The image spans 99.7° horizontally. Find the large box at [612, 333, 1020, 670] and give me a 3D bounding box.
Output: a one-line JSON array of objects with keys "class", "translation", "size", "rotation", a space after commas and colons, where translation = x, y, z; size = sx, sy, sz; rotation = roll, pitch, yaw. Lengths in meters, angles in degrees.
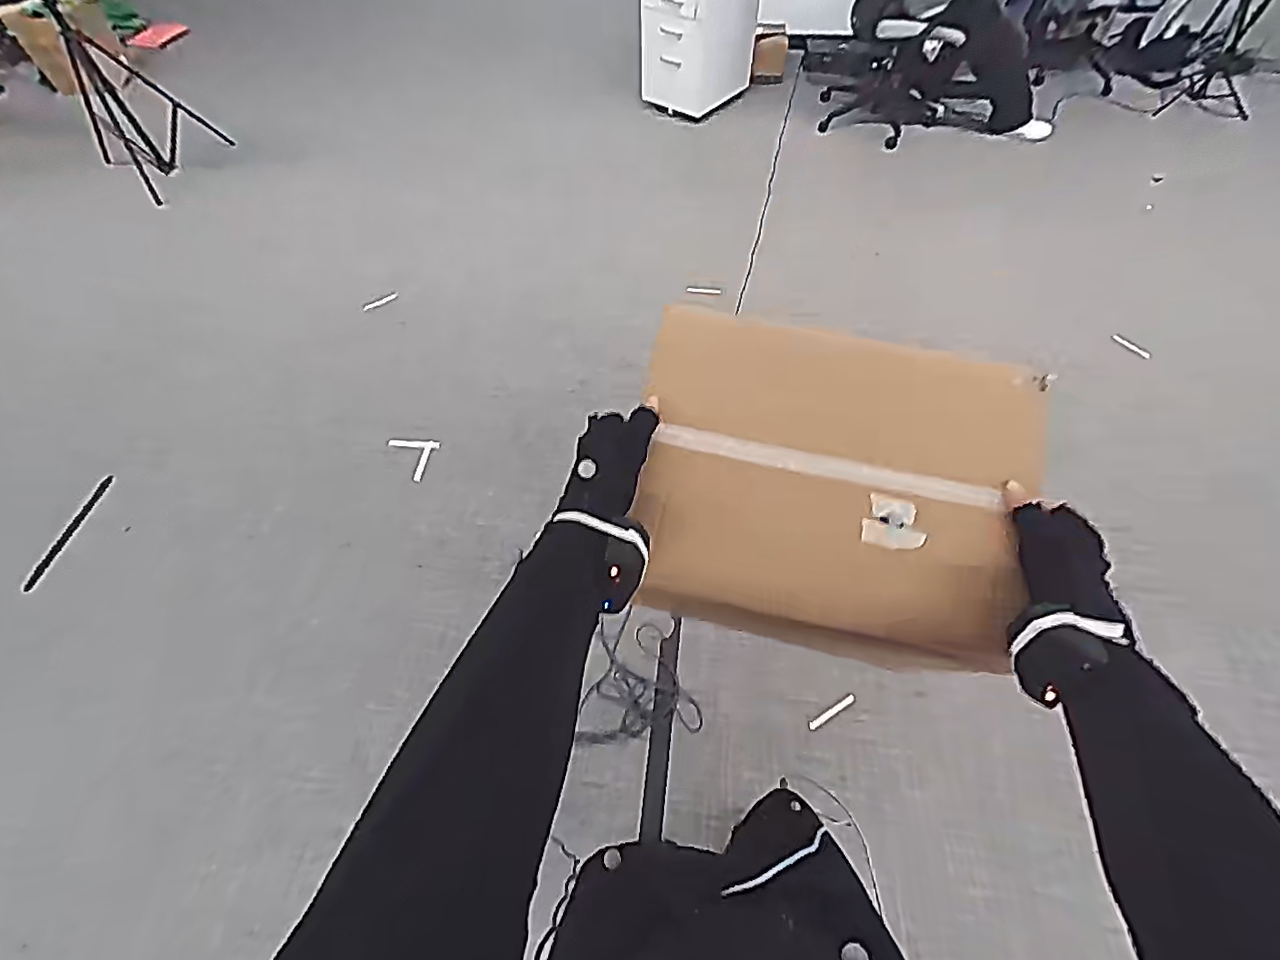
[{"class": "large box", "translation": [0.198, 0.050, 0.717], "size": [0.408, 0.320, 0.320], "rotation": [12, 73, 6]}]
